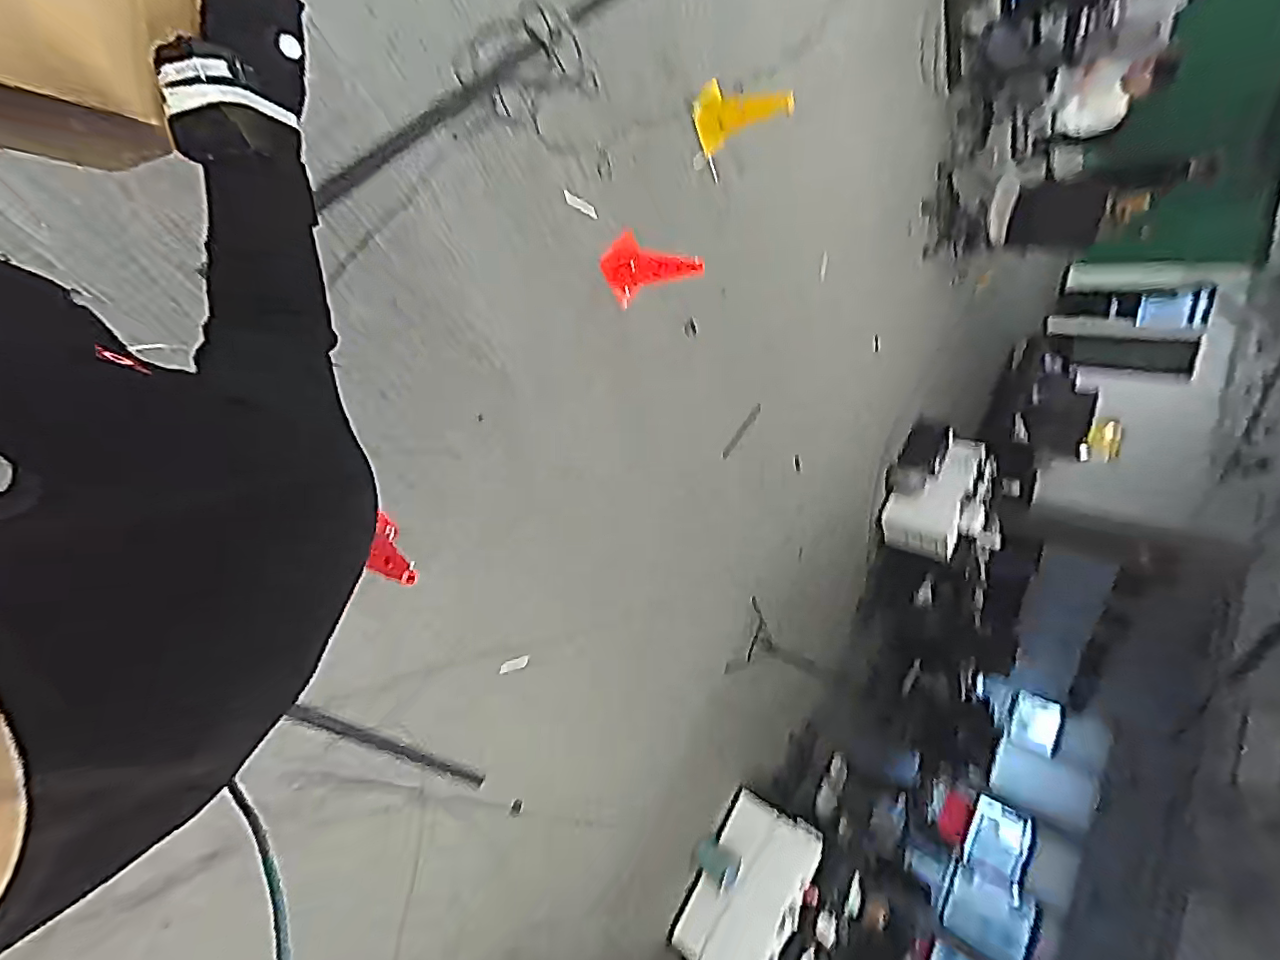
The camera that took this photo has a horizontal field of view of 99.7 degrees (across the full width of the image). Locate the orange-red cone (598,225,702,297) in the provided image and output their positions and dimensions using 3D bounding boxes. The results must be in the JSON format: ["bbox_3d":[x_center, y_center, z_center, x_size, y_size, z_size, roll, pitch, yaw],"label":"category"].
[{"bbox_3d":[0.061,-0.768,1.885,0.199,0.360,0.198,-57,139,-20],"label":"orange-red cone"}]

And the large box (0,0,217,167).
[{"bbox_3d":[-0.542,-0.412,0.299,0.408,0.320,0.320,-13,115,-52],"label":"large box"}]
